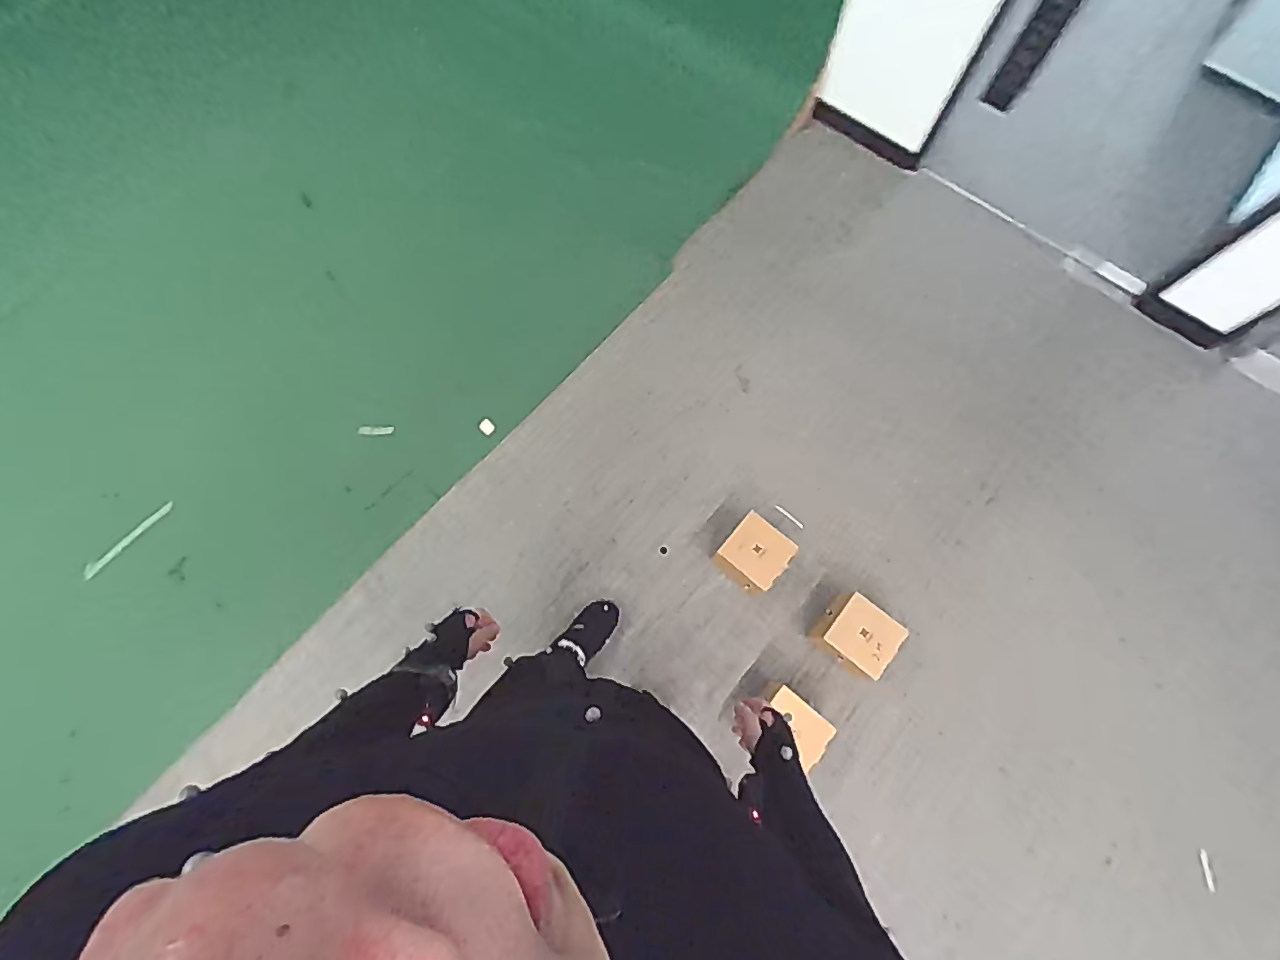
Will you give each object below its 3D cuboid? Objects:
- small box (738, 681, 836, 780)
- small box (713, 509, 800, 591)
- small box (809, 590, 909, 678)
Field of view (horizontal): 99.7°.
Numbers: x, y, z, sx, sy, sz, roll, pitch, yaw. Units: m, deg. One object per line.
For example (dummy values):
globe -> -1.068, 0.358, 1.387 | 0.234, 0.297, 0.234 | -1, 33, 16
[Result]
small box -> 0.388, 0.667, 1.466 | 0.179, 0.176, 0.168 | 39, 77, 10
small box -> 0.336, 0.214, 1.598 | 0.179, 0.176, 0.168 | 40, 77, 11
small box -> 0.608, 0.436, 1.530 | 0.179, 0.176, 0.168 | 40, 78, 10
